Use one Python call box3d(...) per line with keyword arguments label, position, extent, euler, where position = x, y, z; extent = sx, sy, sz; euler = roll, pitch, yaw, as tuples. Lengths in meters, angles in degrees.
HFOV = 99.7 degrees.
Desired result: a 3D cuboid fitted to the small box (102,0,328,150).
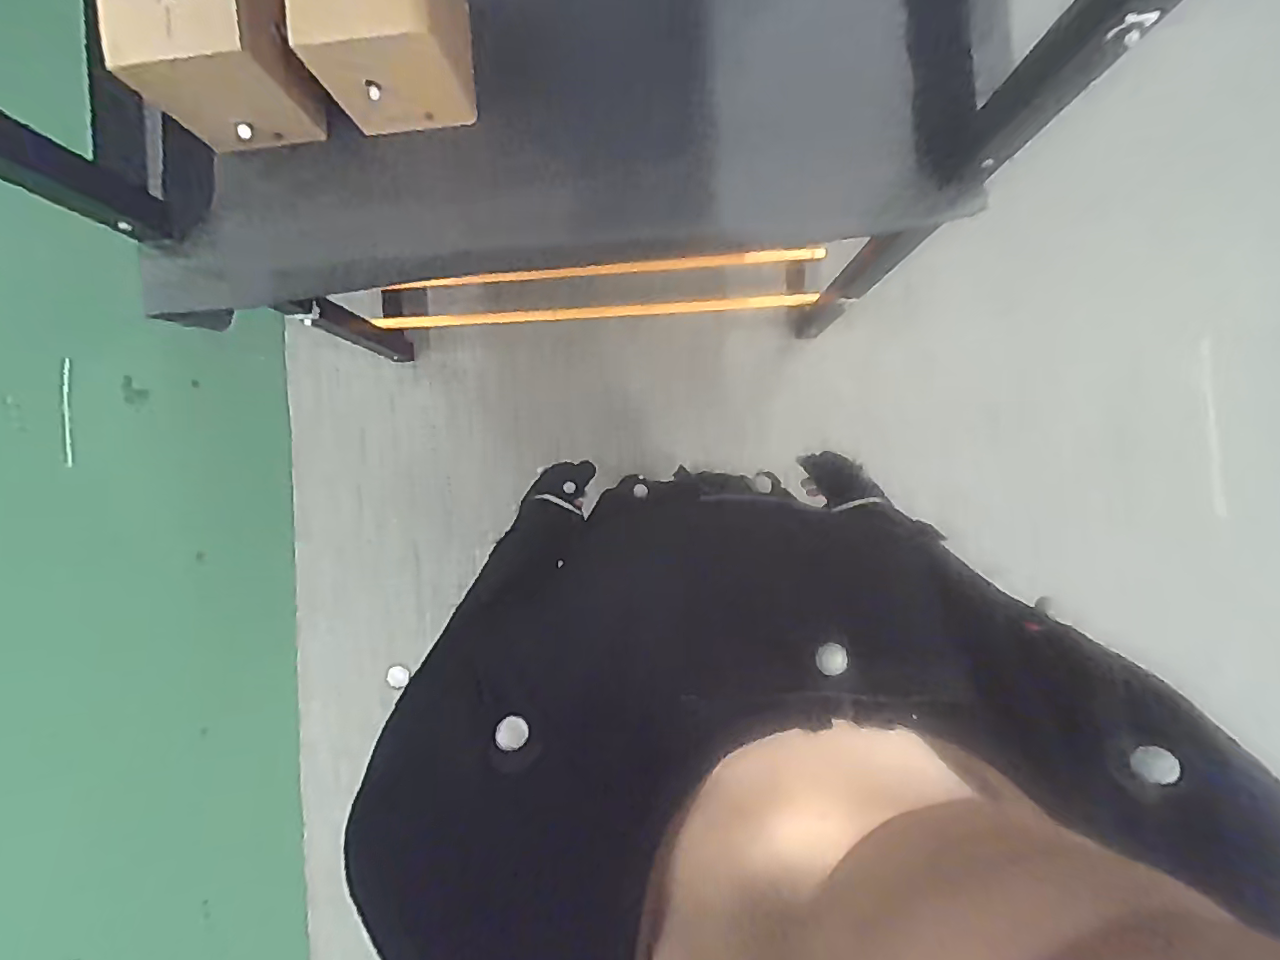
box3d(label="small box", position=(-0.538, -0.572, 0.703), extent=(0.168, 0.176, 0.179), euler=(-5, 90, 3))
